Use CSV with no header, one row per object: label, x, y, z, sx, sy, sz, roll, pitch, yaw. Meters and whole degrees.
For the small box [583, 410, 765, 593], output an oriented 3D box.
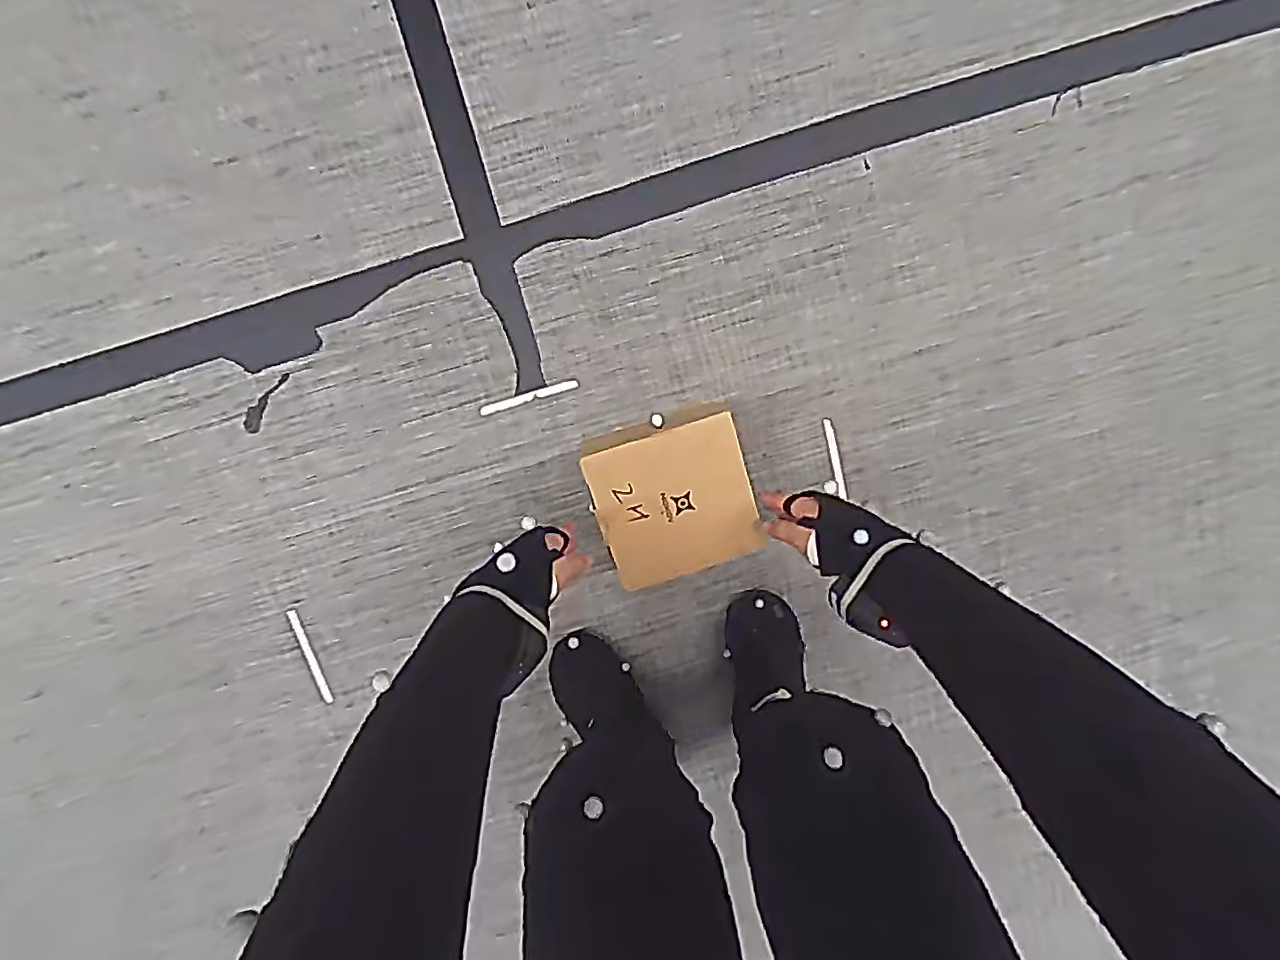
small box,0.035,0.014,0.682,0.179,0.176,0.168,-17,101,0
